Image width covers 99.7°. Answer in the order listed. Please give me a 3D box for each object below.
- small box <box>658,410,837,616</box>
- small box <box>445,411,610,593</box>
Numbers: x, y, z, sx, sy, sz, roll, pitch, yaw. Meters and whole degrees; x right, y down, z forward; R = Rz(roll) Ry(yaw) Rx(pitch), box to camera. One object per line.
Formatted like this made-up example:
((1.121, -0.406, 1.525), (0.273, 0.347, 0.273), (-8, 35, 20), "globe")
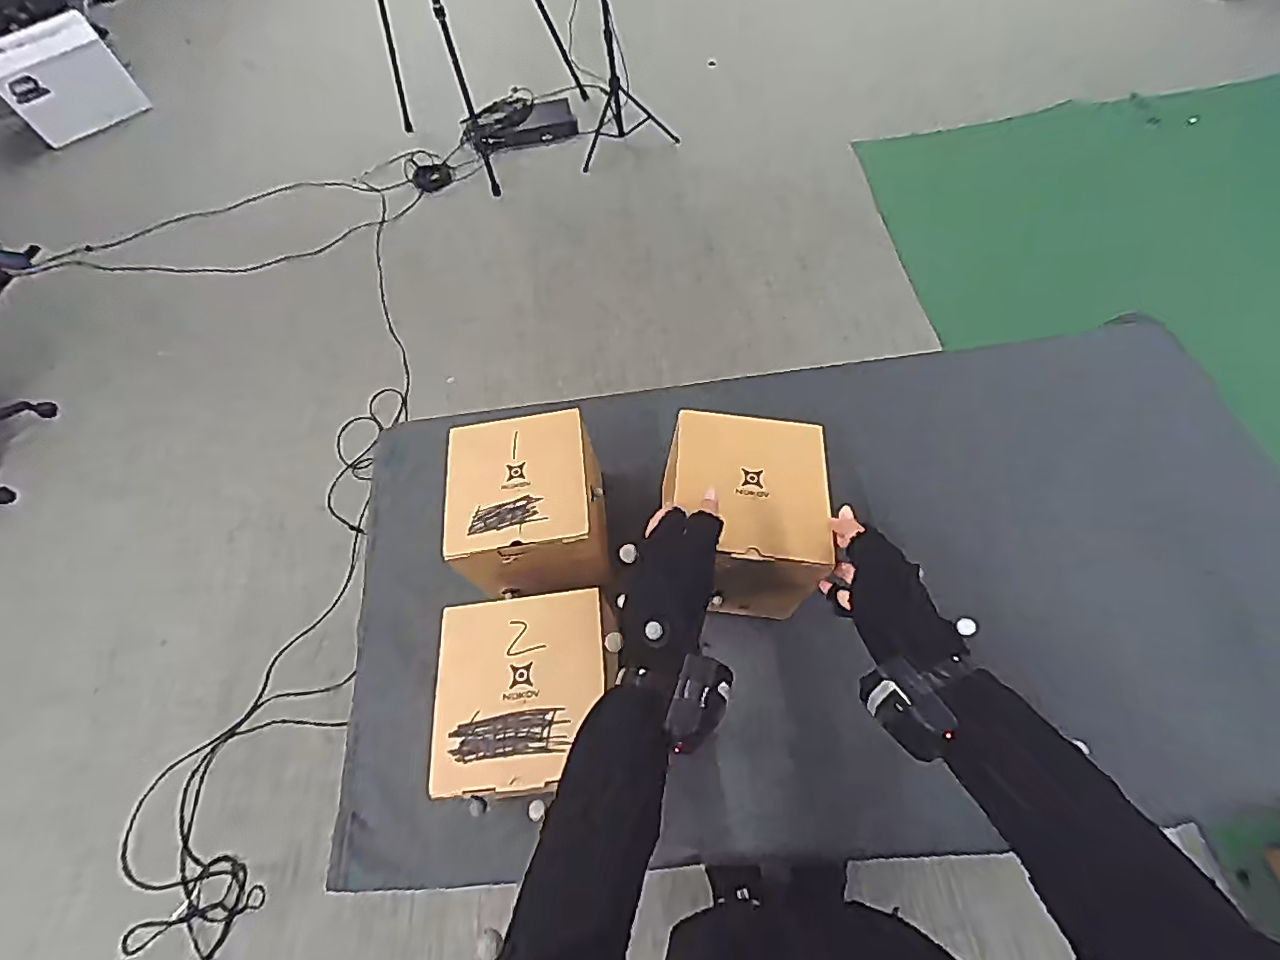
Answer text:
((0.115, 0.045, 0.639), (0.168, 0.176, 0.179), (7, 60, -1), "small box")
((-0.136, 0.038, 0.701), (0.168, 0.176, 0.179), (-9, 61, 1), "small box")
